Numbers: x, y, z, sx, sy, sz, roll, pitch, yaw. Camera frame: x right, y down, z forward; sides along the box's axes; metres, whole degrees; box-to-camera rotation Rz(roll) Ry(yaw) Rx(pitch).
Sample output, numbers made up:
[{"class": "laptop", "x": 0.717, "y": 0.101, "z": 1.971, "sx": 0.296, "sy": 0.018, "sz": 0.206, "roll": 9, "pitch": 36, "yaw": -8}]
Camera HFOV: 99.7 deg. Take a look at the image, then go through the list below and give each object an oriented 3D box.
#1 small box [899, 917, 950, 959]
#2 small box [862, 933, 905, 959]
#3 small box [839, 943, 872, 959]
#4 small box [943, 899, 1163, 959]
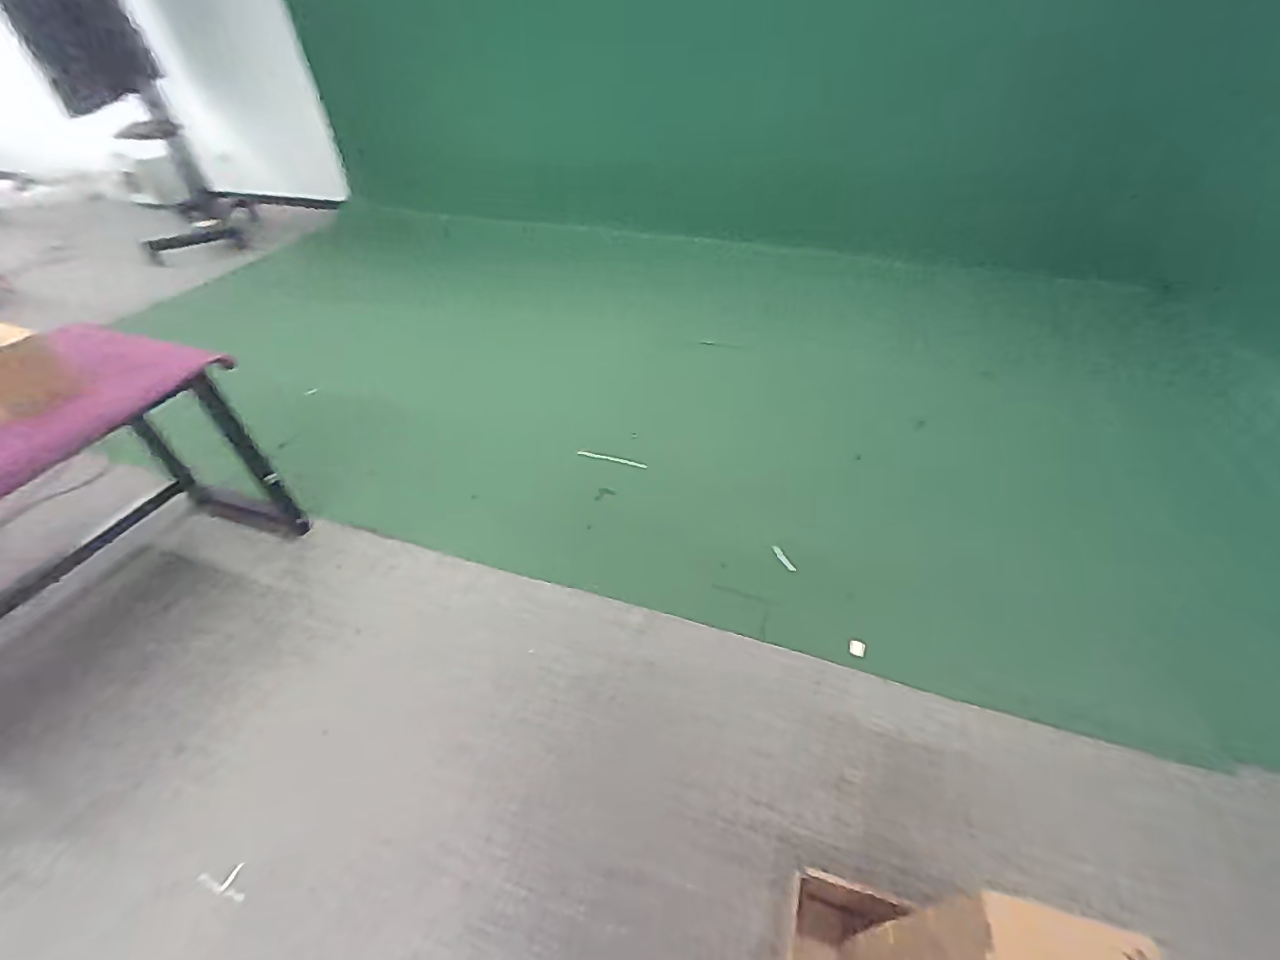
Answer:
[{"class": "small box", "x": 0.458, "y": 0.722, "z": 0.719, "sx": 0.179, "sy": 0.176, "sz": 0.168, "roll": 11, "pitch": 46, "yaw": 12}, {"class": "small box", "x": 0.454, "y": 0.839, "z": 0.834, "sx": 0.179, "sy": 0.176, "sz": 0.168, "roll": 12, "pitch": 46, "yaw": 13}, {"class": "small box", "x": 0.454, "y": 0.955, "z": 0.948, "sx": 0.179, "sy": 0.176, "sz": 0.168, "roll": 13, "pitch": 46, "yaw": 14}, {"class": "small box", "x": 0.459, "y": 0.607, "z": 0.603, "sx": 0.179, "sy": 0.176, "sz": 0.168, "roll": 10, "pitch": 47, "yaw": 13}]
